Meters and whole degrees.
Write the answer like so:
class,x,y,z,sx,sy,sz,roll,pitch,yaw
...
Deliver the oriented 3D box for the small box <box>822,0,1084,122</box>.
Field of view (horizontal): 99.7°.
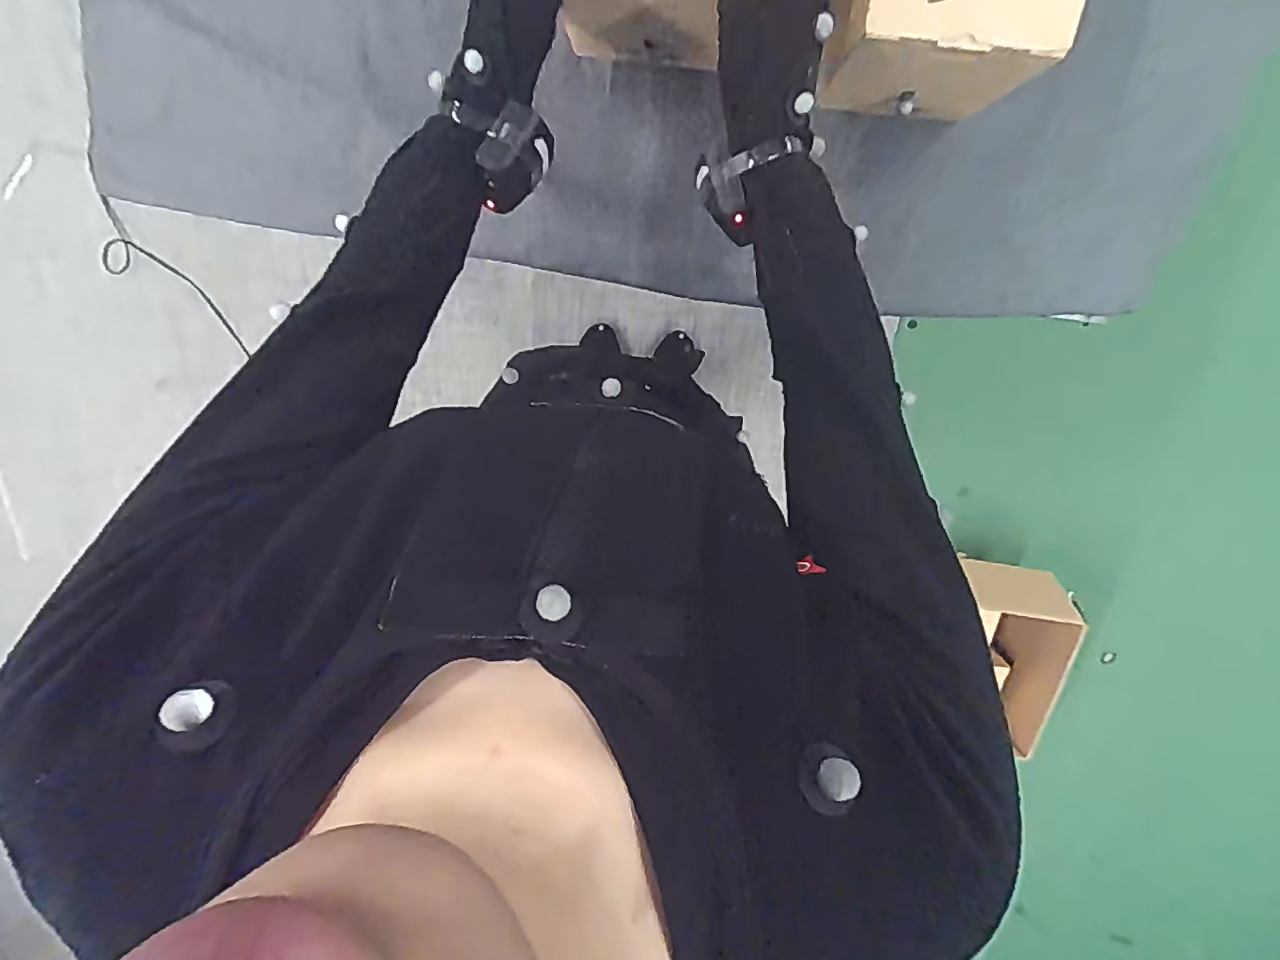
class,x,y,z,sx,sy,sz,roll,pitch,yaw
small box,0.277,-0.457,0.486,0.168,0.176,0.179,7,108,2
